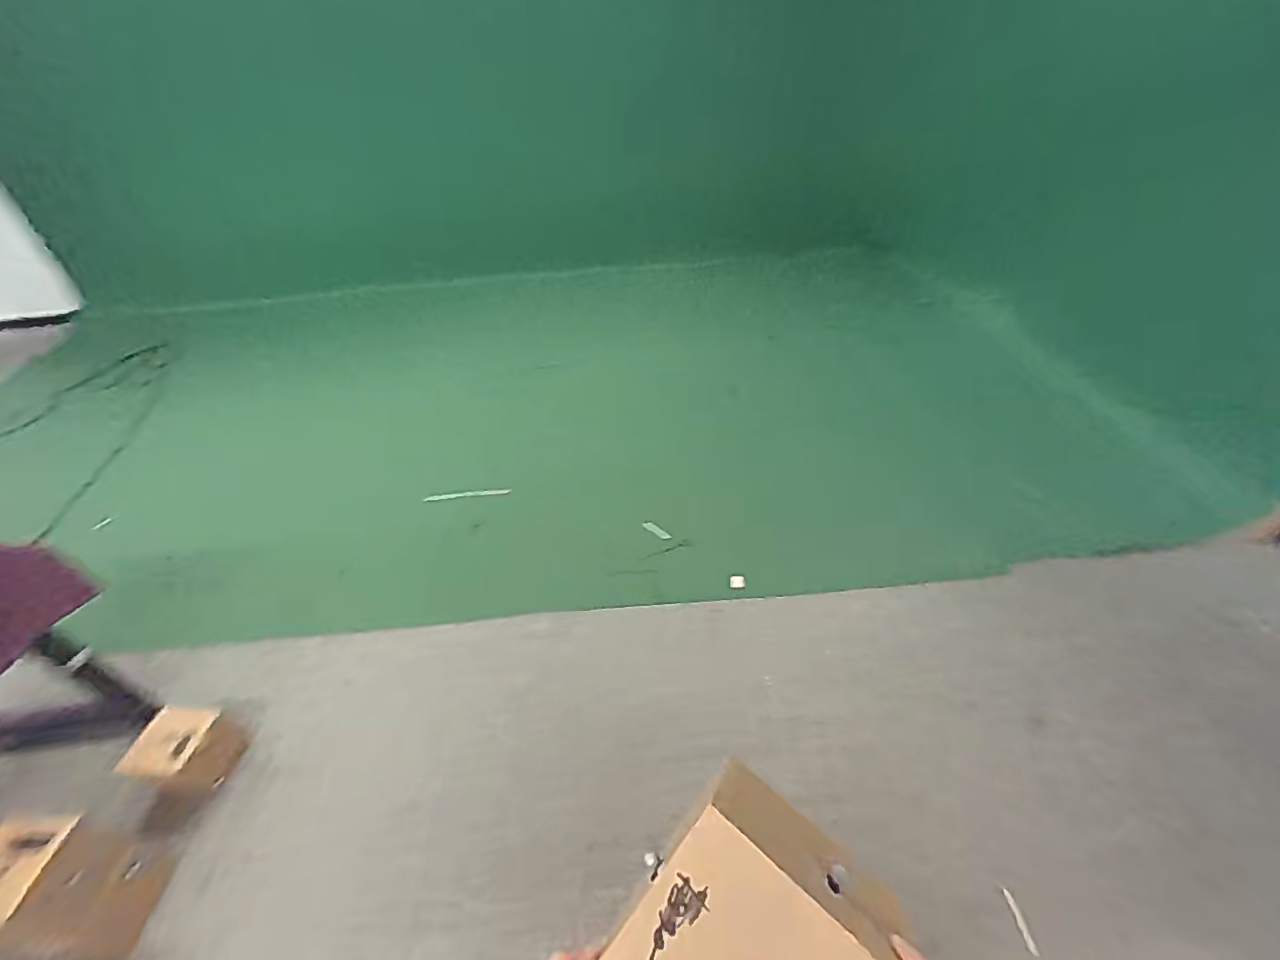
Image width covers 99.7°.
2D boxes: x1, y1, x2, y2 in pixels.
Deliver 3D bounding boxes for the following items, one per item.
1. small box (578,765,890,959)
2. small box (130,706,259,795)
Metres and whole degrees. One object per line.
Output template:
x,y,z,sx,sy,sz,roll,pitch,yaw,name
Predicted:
0.072,0.354,0.413,0.179,0.176,0.168,34,84,19,small box
-1.206,0.744,1.483,0.179,0.176,0.168,0,41,8,small box
